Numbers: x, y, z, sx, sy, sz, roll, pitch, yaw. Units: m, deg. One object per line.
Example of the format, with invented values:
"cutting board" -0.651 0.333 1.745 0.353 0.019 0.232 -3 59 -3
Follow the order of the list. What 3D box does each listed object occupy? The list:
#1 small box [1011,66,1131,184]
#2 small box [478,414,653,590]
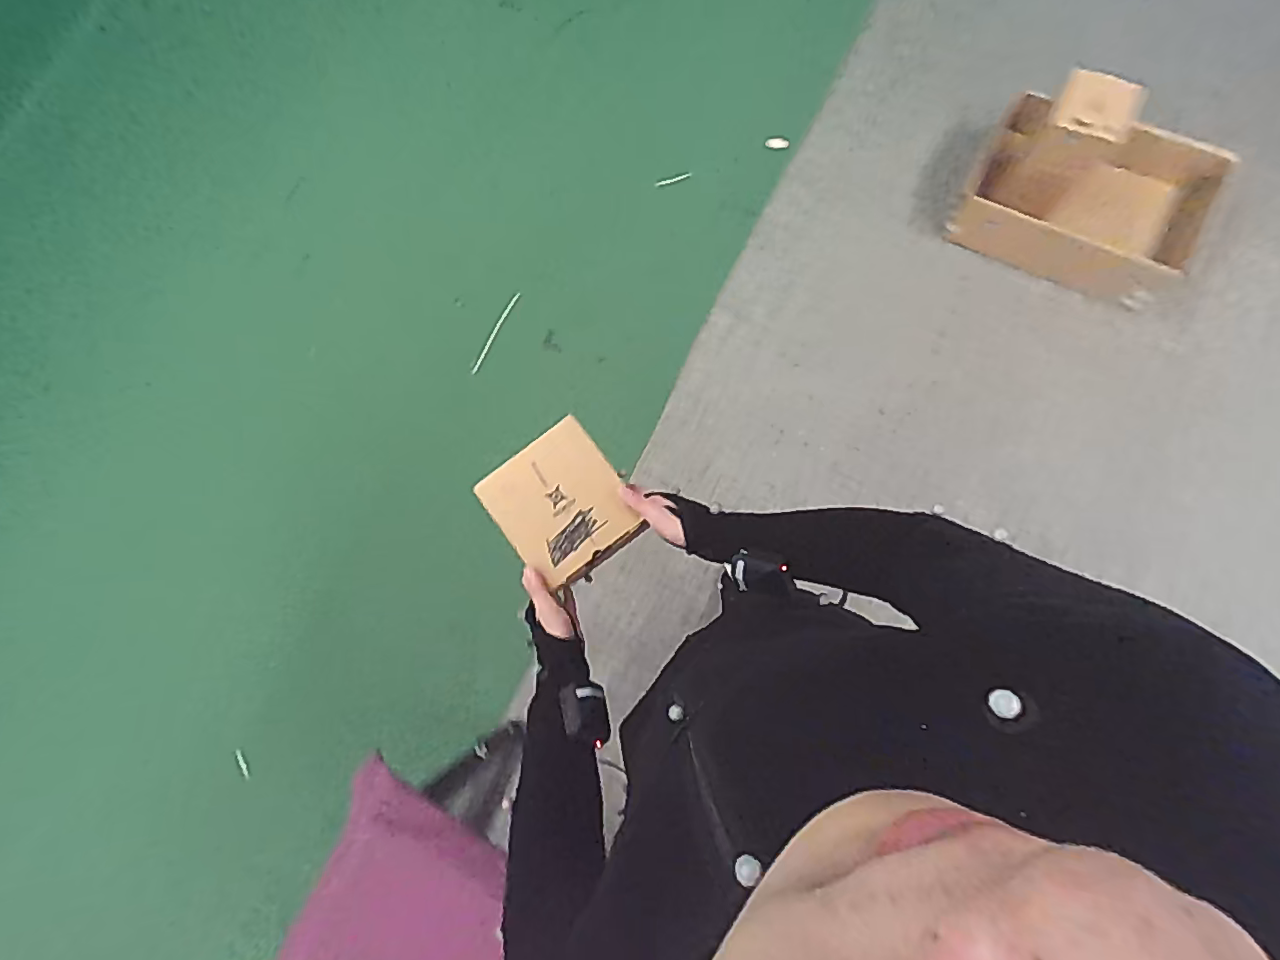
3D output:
"small box" 1.135 -0.938 1.438 0.168 0.176 0.179 24 83 11
"small box" -0.094 0.035 0.782 0.168 0.176 0.179 -37 82 -1
